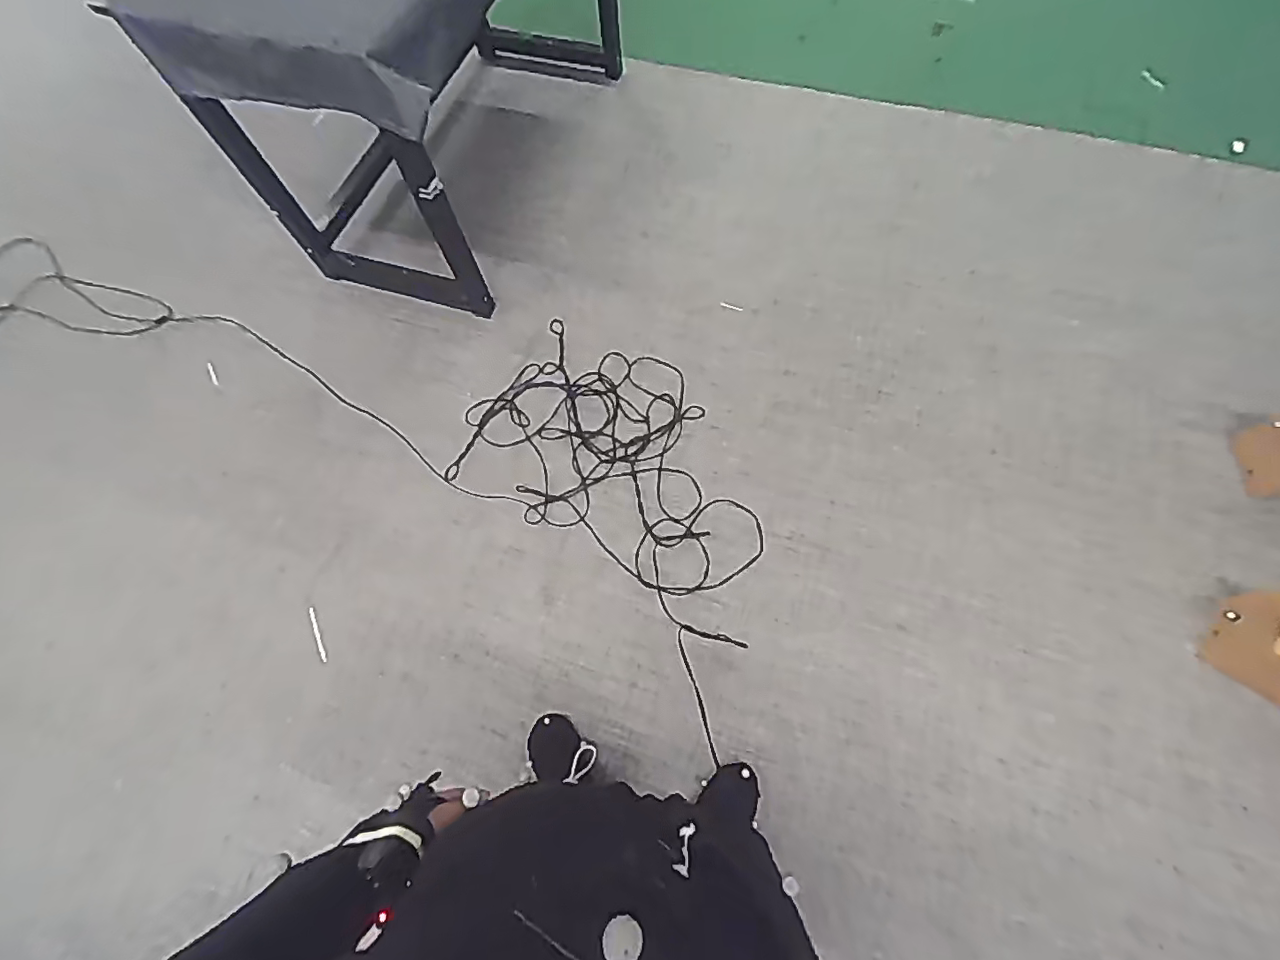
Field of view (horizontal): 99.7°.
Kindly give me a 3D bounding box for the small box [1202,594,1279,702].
[{"bbox_3d":[1.326,0.342,1.093,0.179,0.176,0.168,35,74,16],"label":"small box"}]
